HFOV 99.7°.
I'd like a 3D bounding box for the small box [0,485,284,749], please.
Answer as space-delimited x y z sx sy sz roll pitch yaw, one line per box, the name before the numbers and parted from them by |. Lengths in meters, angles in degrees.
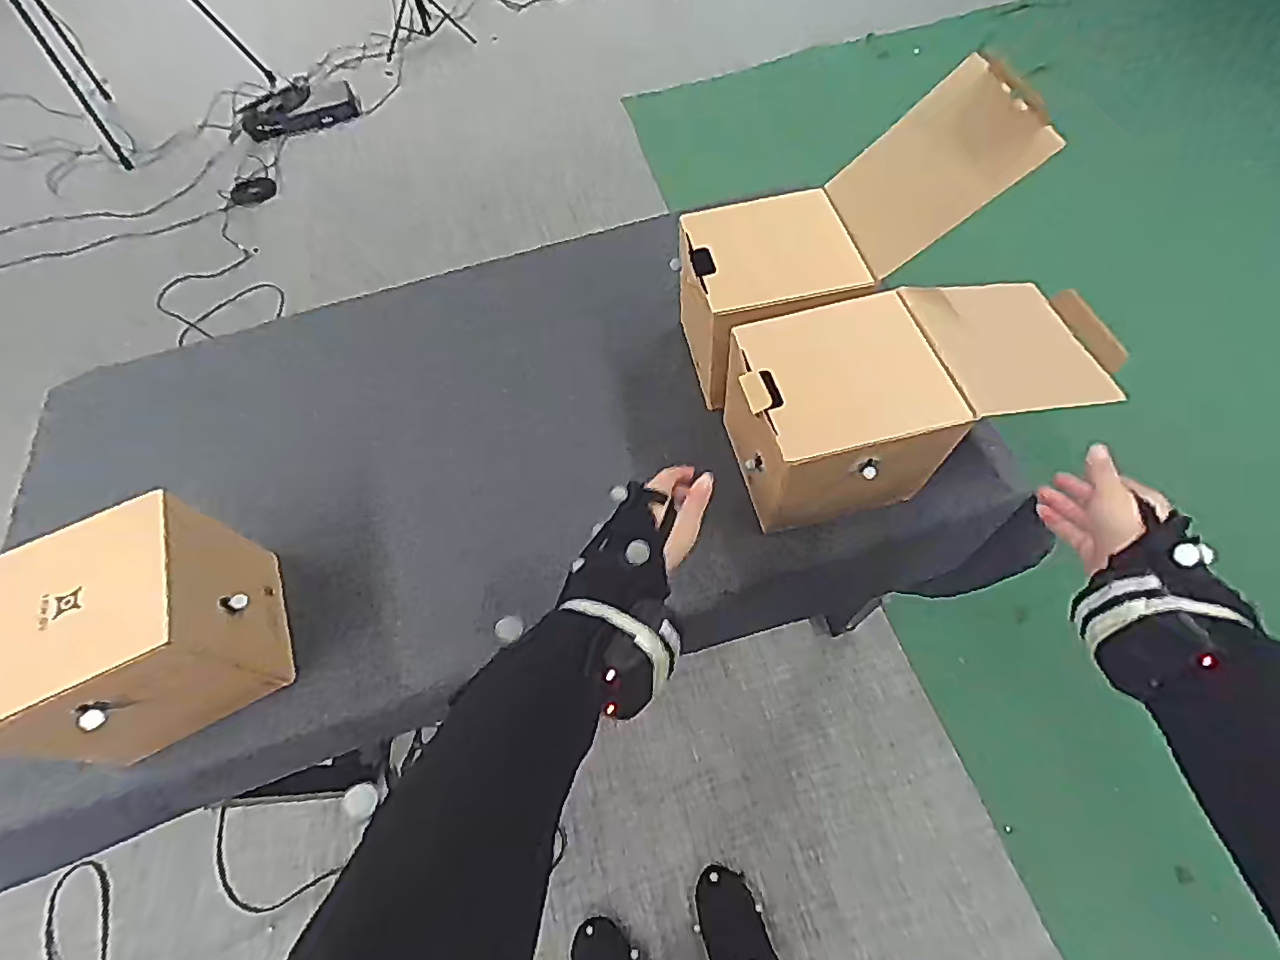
small box | -0.482 0.140 0.527 0.179 0.176 0.168 -26 61 -8
